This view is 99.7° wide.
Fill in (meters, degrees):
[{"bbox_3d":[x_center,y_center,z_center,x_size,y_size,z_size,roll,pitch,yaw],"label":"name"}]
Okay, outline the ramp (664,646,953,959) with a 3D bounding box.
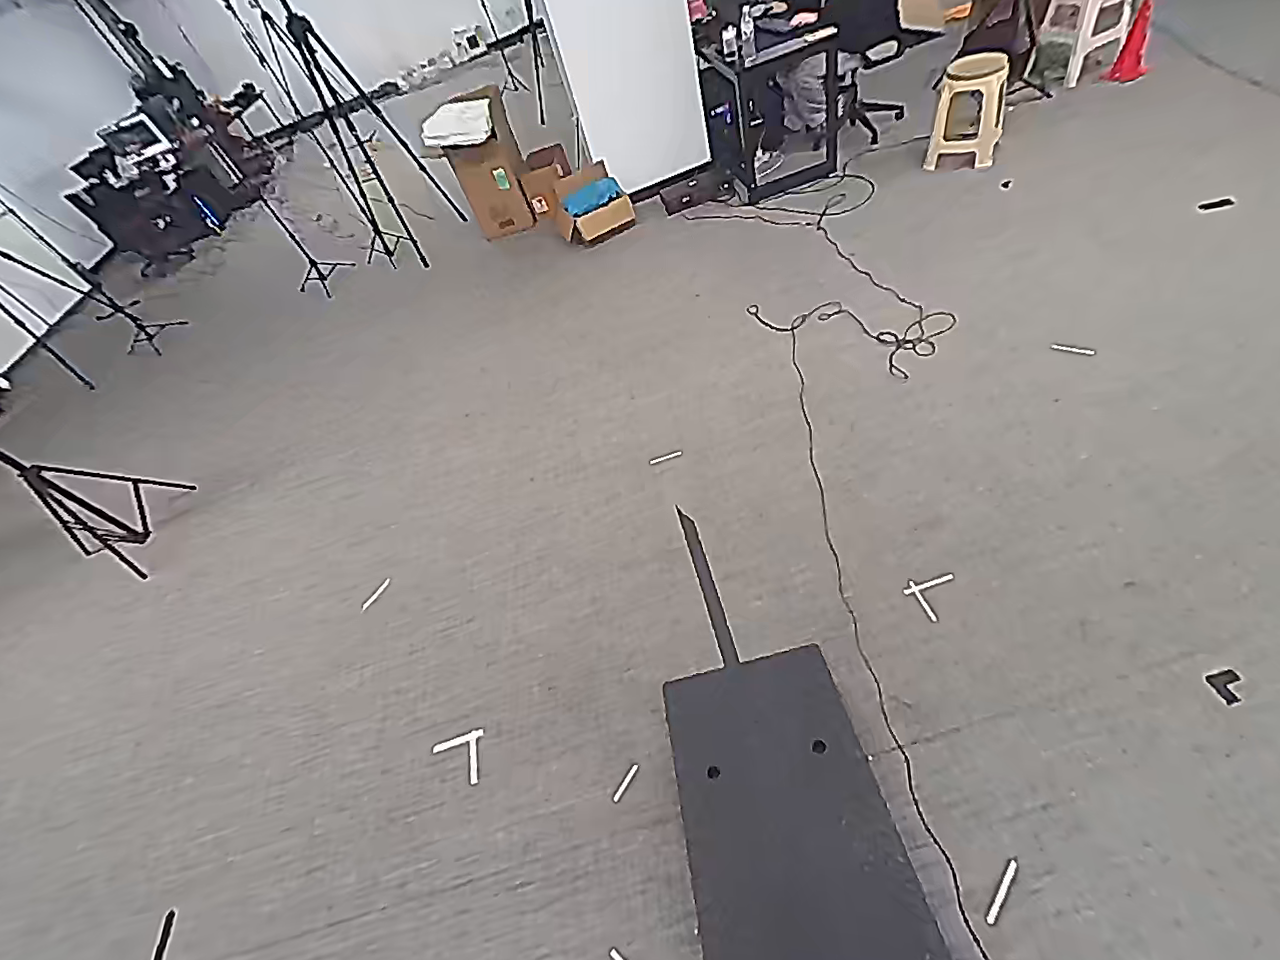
[{"bbox_3d":[0.352,0.868,1.252,0.509,0.206,0.991,-19,47,5],"label":"ramp"}]
